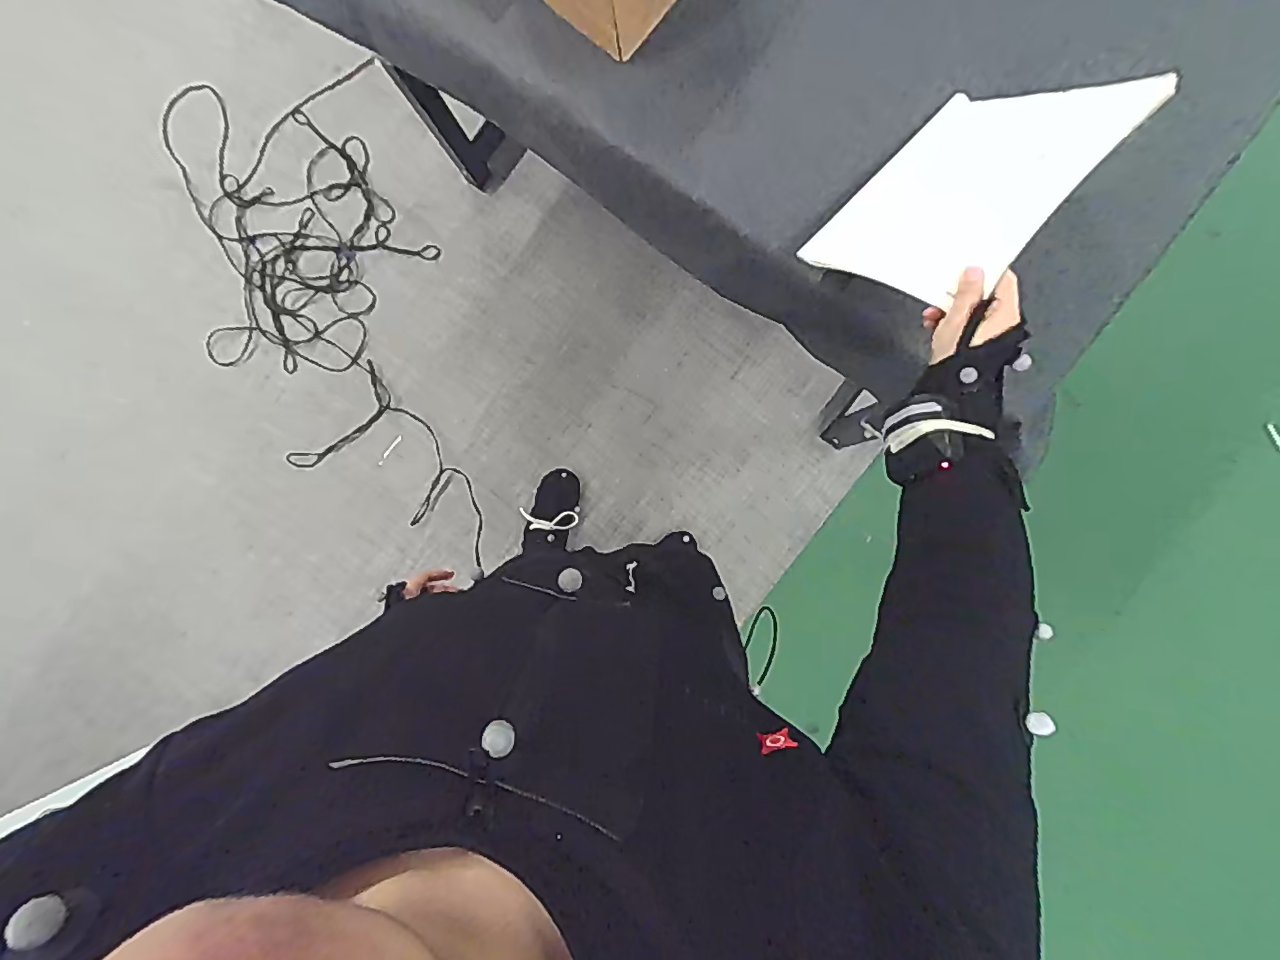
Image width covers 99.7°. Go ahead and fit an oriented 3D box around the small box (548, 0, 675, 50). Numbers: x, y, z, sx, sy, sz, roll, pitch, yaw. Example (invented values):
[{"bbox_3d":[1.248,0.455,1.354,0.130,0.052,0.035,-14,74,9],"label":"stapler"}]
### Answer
[{"bbox_3d":[-0.038,-0.606,0.554,0.179,0.176,0.168,41,92,4],"label":"small box"}]
